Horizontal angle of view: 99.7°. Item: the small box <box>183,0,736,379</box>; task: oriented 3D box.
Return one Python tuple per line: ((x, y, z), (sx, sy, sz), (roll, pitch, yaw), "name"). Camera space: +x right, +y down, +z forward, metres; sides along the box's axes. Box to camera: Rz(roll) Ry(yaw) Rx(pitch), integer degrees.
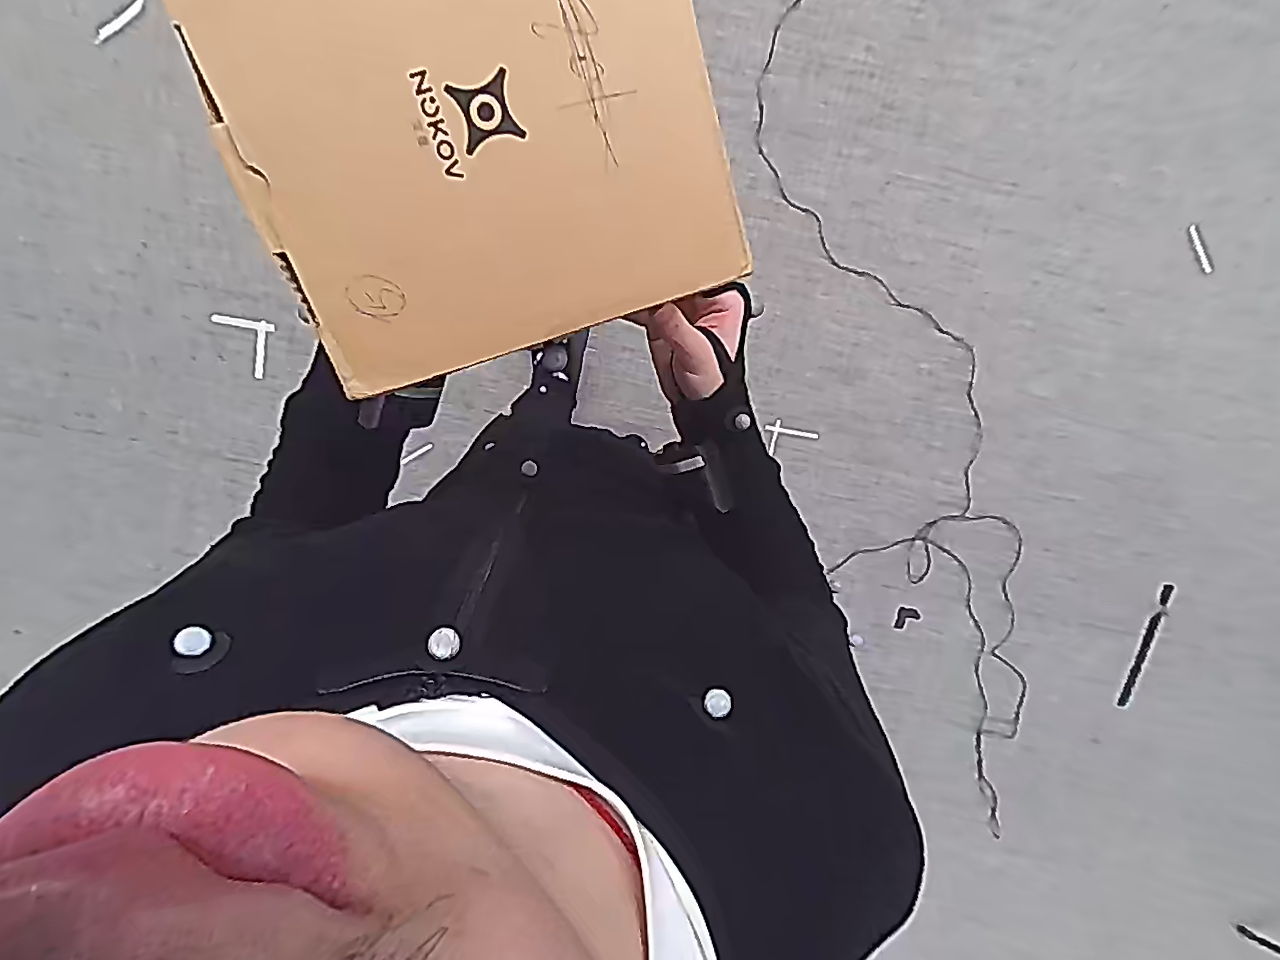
((-0.070, -0.162, 0.287), (0.179, 0.176, 0.168), (-19, 107, -2), "small box")
